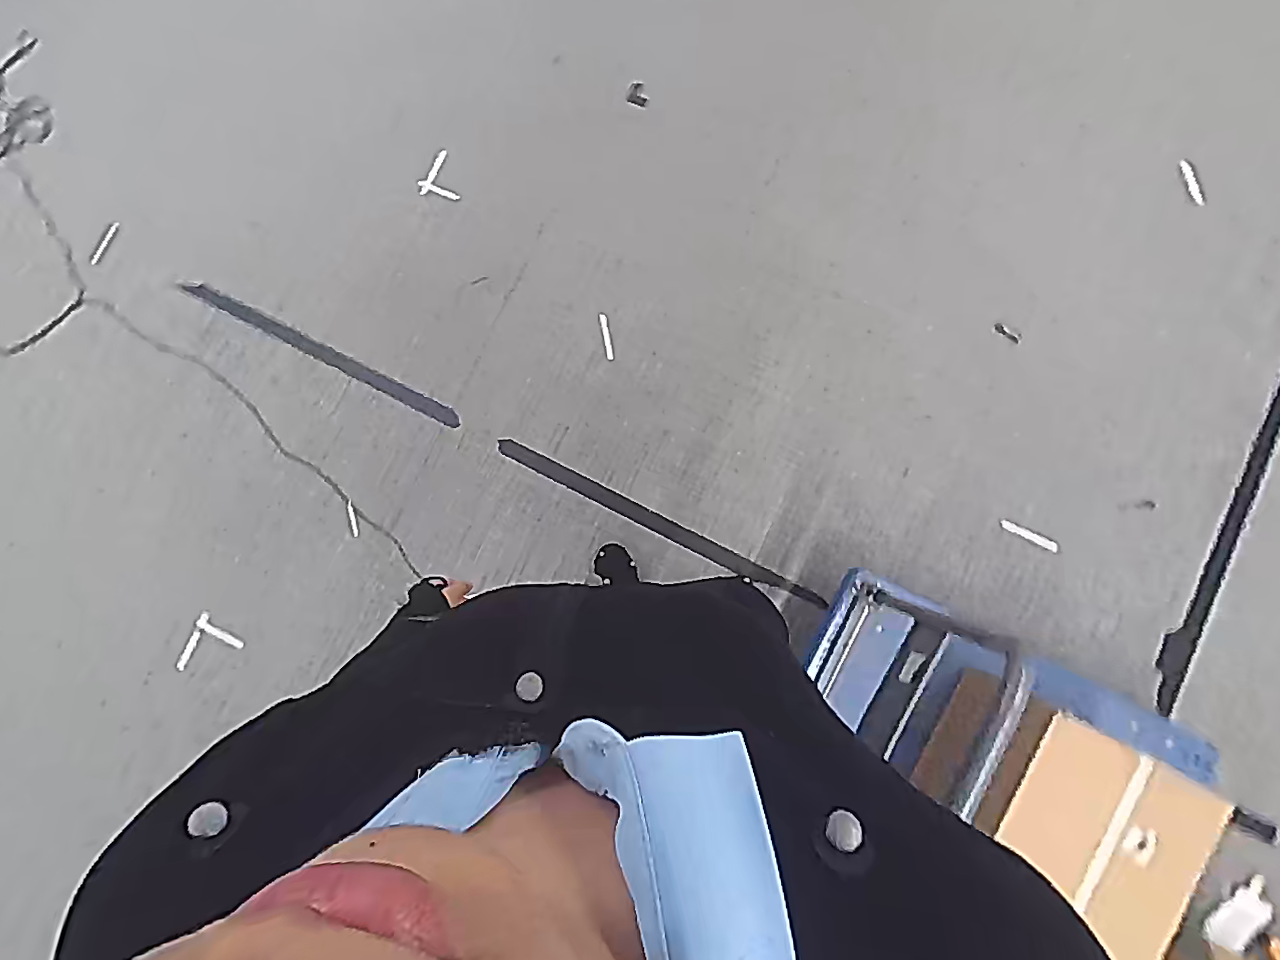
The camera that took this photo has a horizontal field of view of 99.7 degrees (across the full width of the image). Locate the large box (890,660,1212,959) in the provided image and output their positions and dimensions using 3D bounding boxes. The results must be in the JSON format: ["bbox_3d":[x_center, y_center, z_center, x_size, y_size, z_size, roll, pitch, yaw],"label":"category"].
[{"bbox_3d":[0.777,0.643,1.085,0.320,0.320,0.408,28,86,5],"label":"large box"}]
